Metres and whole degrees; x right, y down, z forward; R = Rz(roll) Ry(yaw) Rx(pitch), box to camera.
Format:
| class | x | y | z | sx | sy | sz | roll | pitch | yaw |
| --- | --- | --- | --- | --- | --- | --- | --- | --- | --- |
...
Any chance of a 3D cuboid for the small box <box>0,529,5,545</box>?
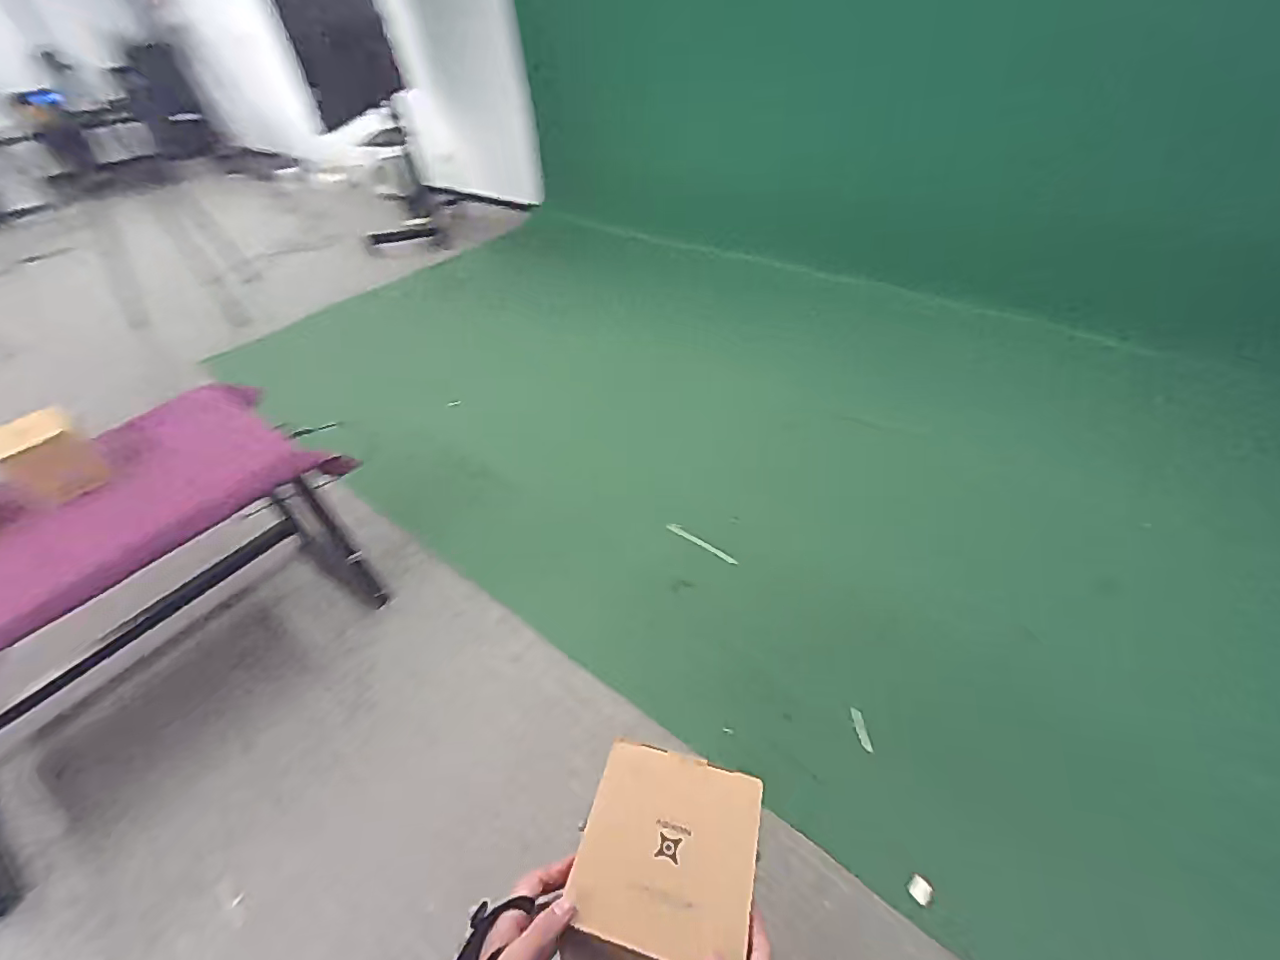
| class | x | y | z | sx | sy | sz | roll | pitch | yaw |
| --- | --- | --- | --- | --- | --- | --- | --- | --- | --- |
| small box | -1.702 | 0.110 | 1.291 | 0.179 | 0.176 | 0.168 | 26 | 52 | 28 |

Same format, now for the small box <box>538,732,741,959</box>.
| class | x | y | z | sx | sy | sz | roll | pitch | yaw |
| --- | --- | --- | --- | --- | --- | --- | --- | --- | --- |
| small box | 0.005 | 0.410 | 0.572 | 0.168 | 0.176 | 0.179 | 10 | 38 | 11 |

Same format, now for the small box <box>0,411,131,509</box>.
| class | x | y | z | sx | sy | sz | roll | pitch | yaw |
| --- | --- | --- | --- | --- | --- | --- | --- | --- | --- |
| small box | -1.522 | -0.052 | 1.435 | 0.179 | 0.176 | 0.168 | 27 | 54 | 29 |
